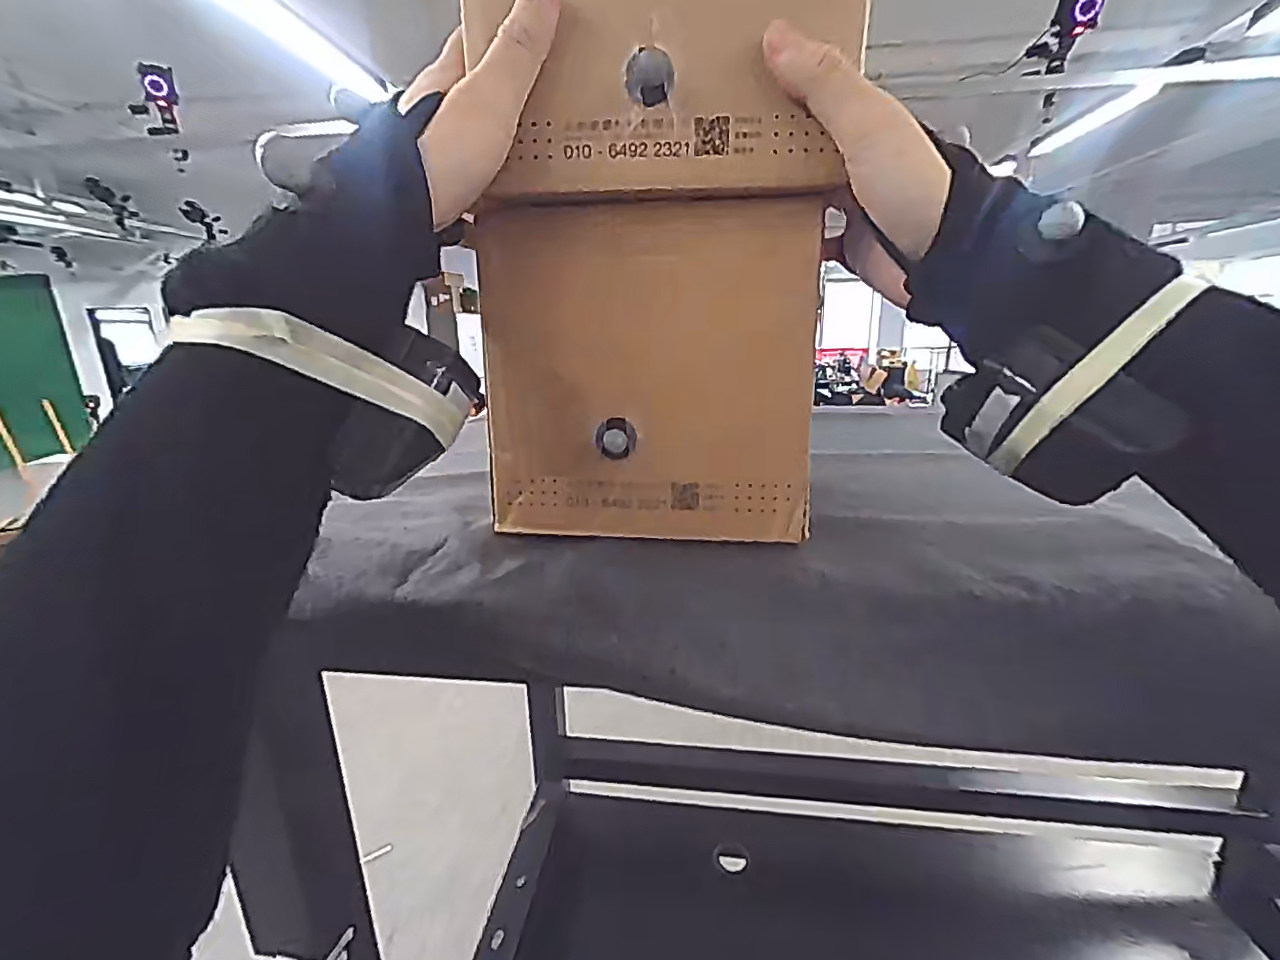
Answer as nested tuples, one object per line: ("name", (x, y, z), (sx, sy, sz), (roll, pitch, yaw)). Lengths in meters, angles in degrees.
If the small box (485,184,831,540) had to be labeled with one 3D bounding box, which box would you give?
("small box", (0.014, -0.070, 0.346), (0.168, 0.176, 0.179), (1, 13, 7))
